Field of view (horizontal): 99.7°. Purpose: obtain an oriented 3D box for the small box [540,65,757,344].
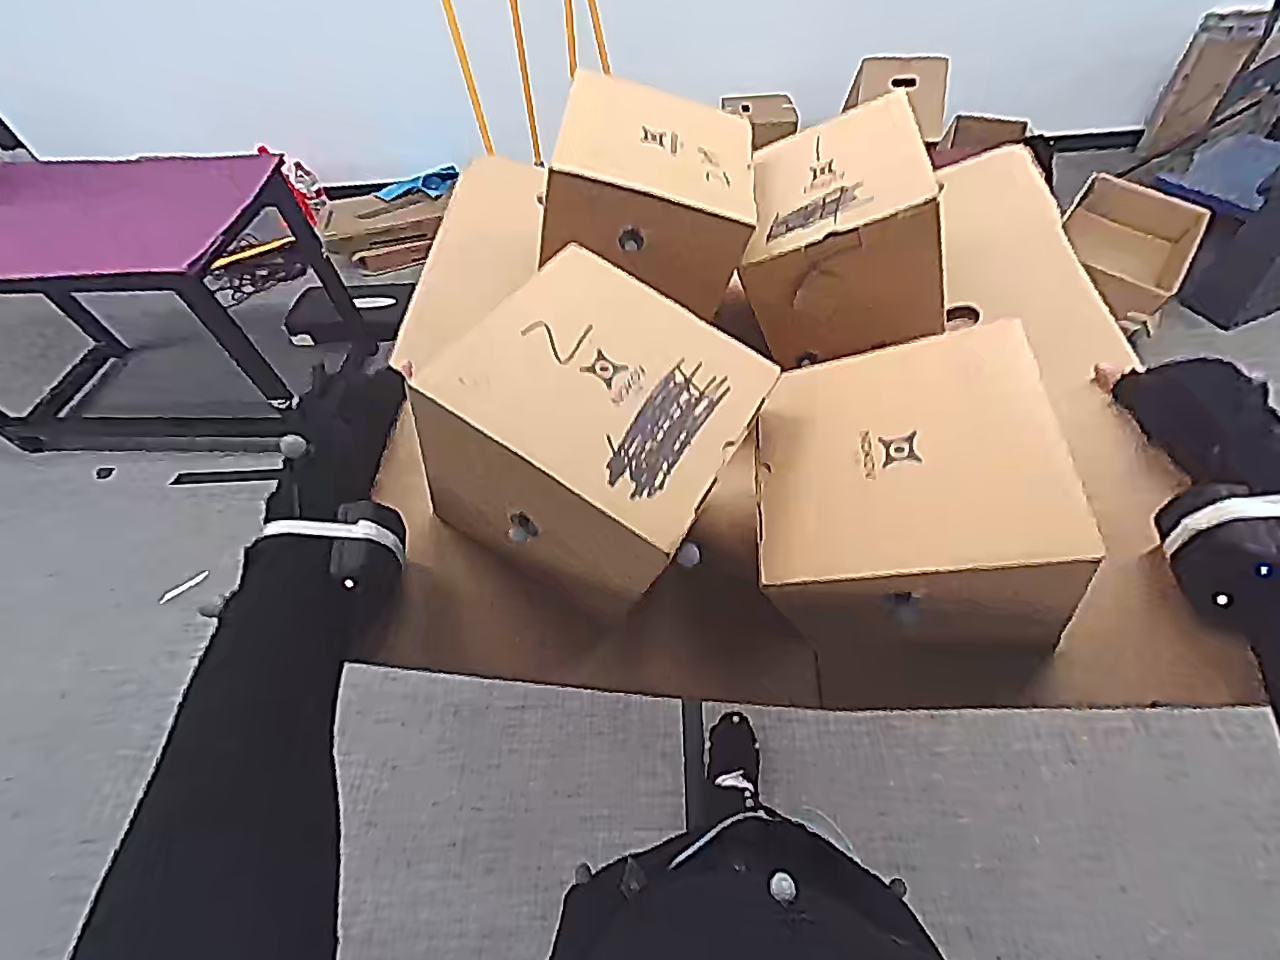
[{"bbox_3d":[0.002,-0.262,0.542,0.179,0.176,0.168,11,60,-10],"label":"small box"}]
